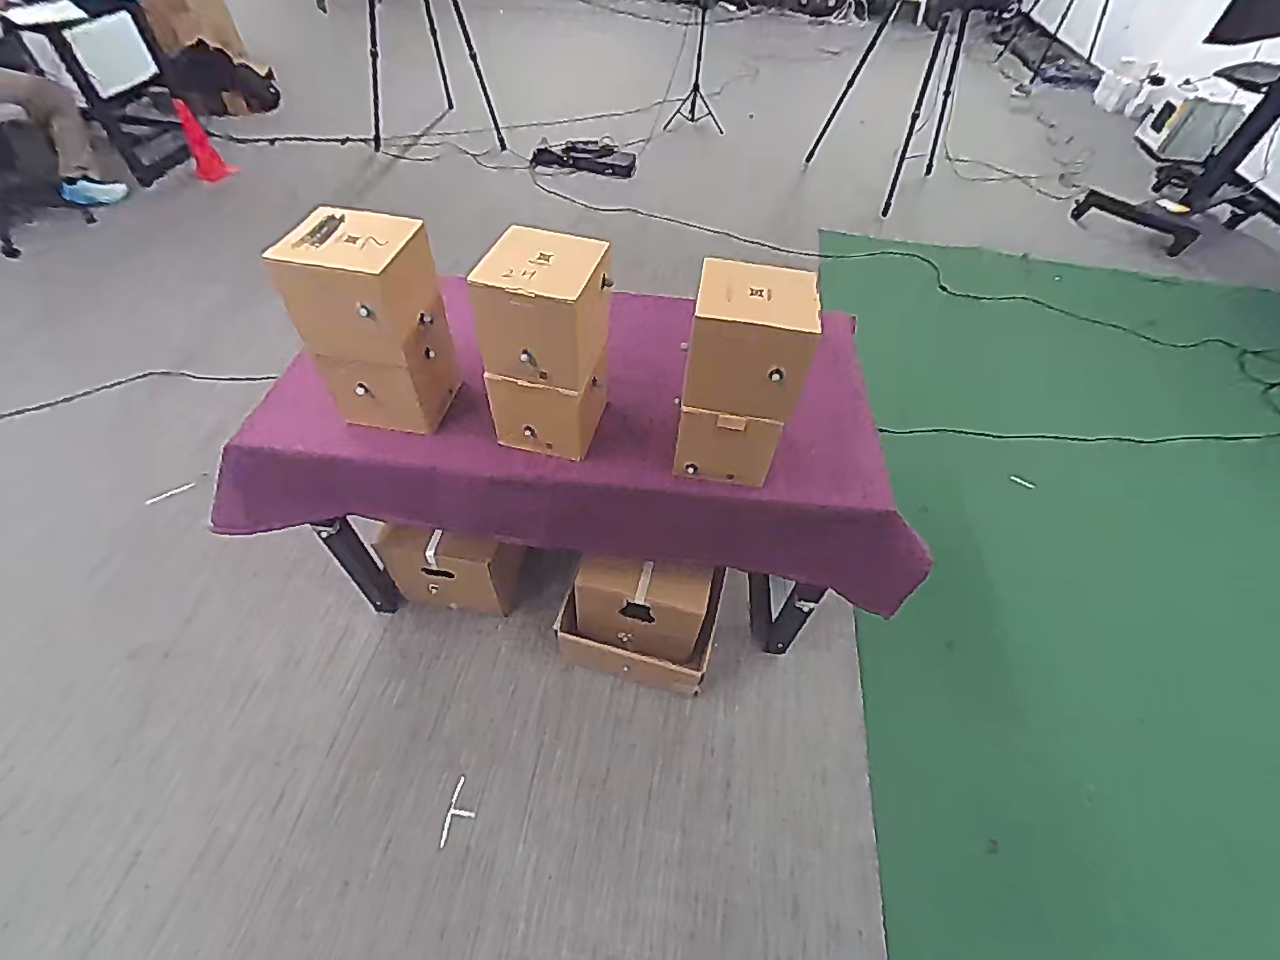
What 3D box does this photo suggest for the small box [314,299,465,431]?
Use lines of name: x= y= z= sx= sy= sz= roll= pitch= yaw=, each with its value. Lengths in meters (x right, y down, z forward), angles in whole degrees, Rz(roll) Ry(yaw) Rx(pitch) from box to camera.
small box: x=-0.450 y=-0.210 z=1.006 sx=0.179 sy=0.176 sz=0.168 roll=9 pitch=52 yaw=4

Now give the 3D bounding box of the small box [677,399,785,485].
small box: x=0.160 y=-0.112 z=0.969 sx=0.168 sy=0.176 sz=0.179 roll=9 pitch=50 yaw=4

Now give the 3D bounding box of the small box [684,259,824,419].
small box: x=0.173 y=-0.215 z=0.842 sx=0.179 sy=0.176 sz=0.168 roll=9 pitch=51 yaw=5

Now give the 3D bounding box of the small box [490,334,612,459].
small box: x=-0.156 y=-0.168 z=0.995 sx=0.168 sy=0.176 sz=0.179 roll=13 pitch=53 yaw=6

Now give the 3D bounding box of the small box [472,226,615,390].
small box: x=-0.145 y=-0.275 z=0.870 sx=0.168 sy=0.176 sz=0.179 roll=13 pitch=53 yaw=7
